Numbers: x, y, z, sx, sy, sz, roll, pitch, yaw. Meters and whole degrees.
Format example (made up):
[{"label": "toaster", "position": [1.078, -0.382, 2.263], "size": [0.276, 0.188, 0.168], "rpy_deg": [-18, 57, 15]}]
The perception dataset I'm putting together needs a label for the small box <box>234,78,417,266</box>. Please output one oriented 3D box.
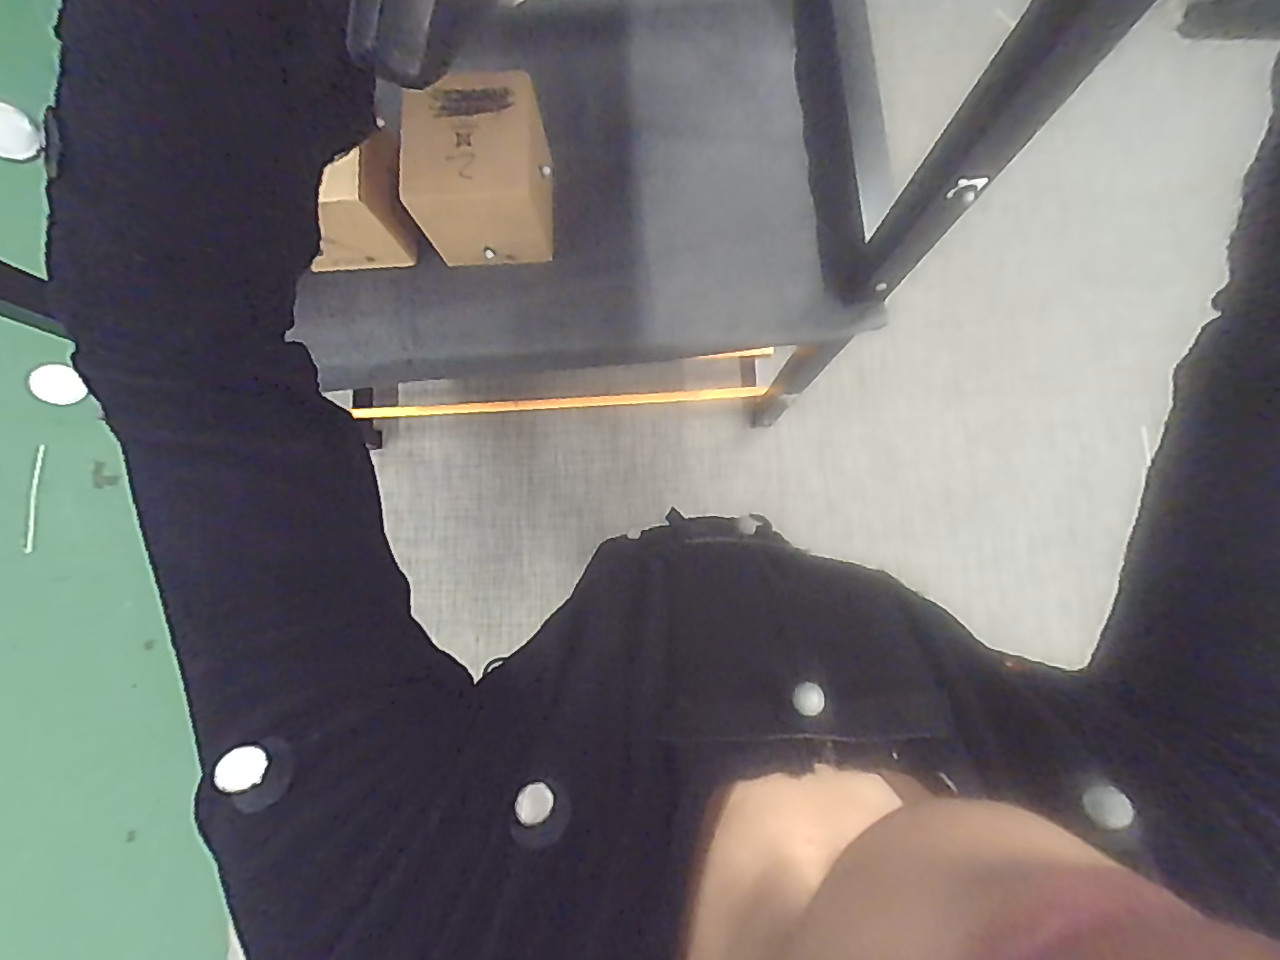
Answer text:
[{"label": "small box", "position": [-0.435, -0.424, 0.774], "size": [0.168, 0.176, 0.179], "rpy_deg": [-3, 81, 1]}]
